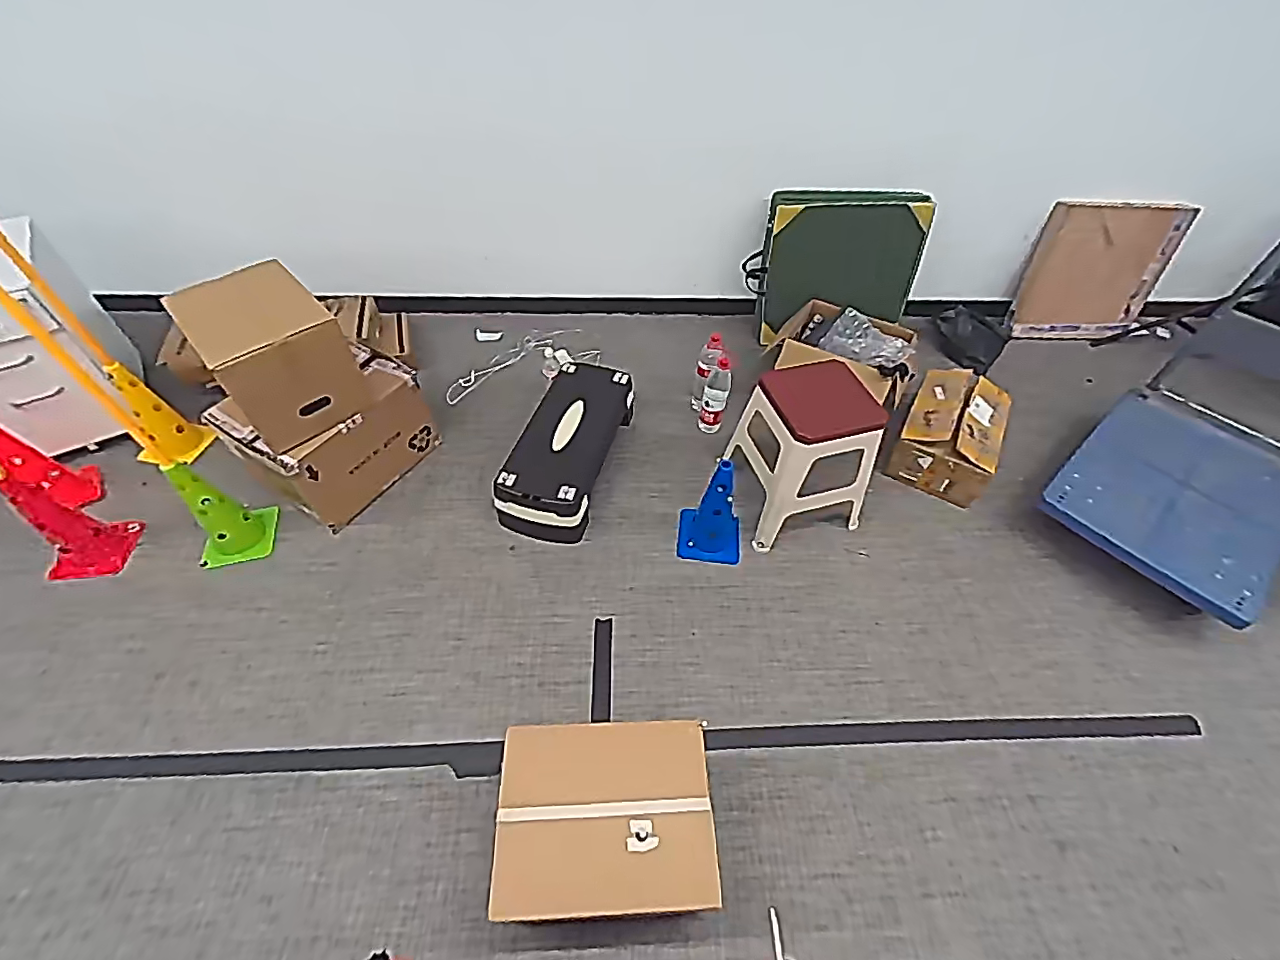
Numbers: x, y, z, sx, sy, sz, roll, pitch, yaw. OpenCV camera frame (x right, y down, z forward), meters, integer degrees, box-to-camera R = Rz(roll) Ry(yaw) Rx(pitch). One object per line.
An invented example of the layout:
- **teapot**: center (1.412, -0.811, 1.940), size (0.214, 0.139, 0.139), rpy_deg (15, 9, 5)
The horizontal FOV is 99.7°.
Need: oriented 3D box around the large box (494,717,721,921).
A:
- **large box**: center (-0.072, 0.717, 1.142), size (0.408, 0.320, 0.320), rpy_deg (0, 51, -4)
